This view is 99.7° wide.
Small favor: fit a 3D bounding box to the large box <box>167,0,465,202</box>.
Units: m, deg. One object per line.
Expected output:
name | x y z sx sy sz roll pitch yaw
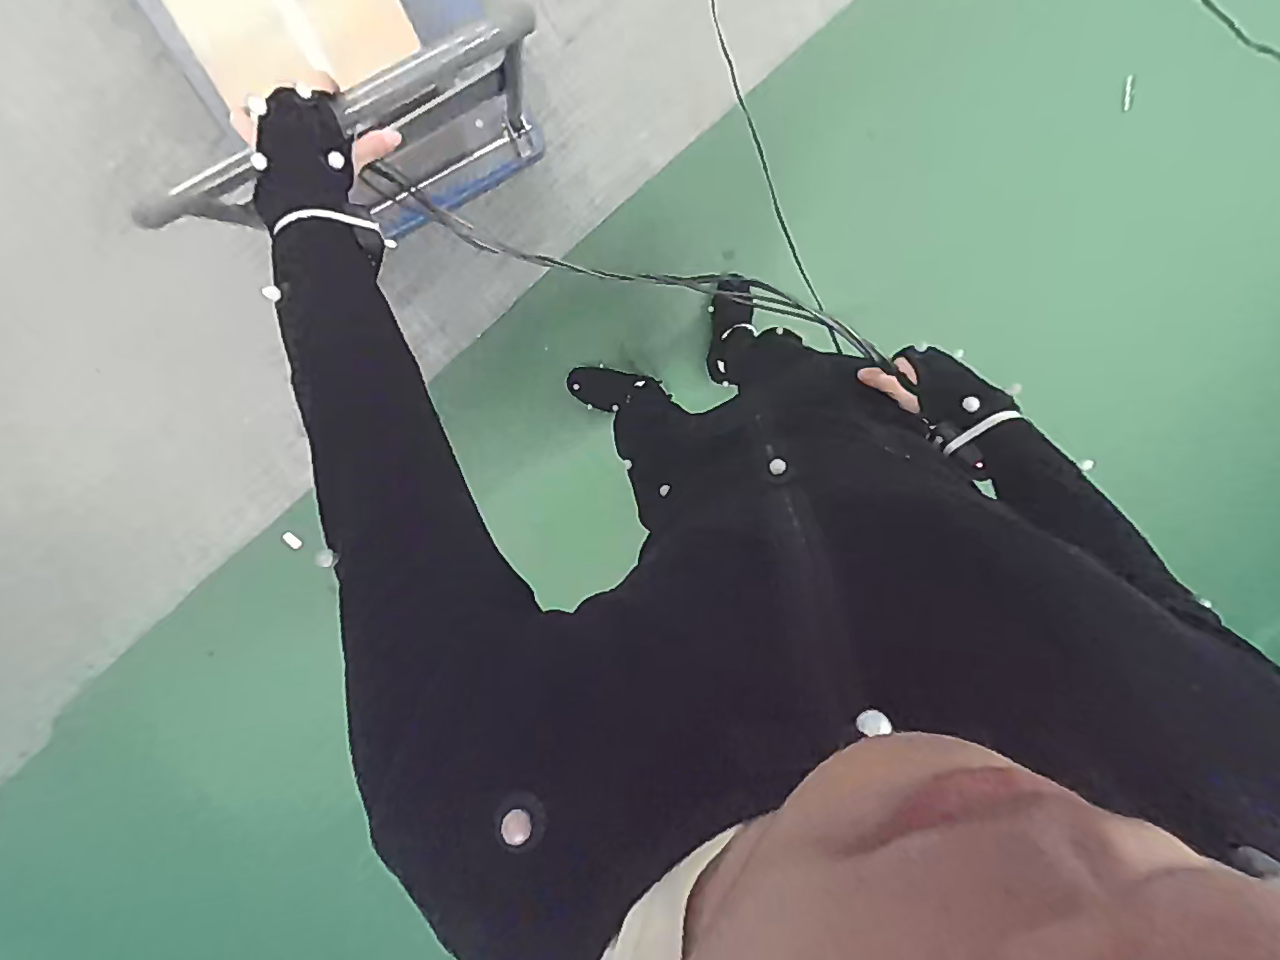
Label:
large box | -0.566 -0.781 0.954 0.320 0.320 0.408 -27 109 -2
